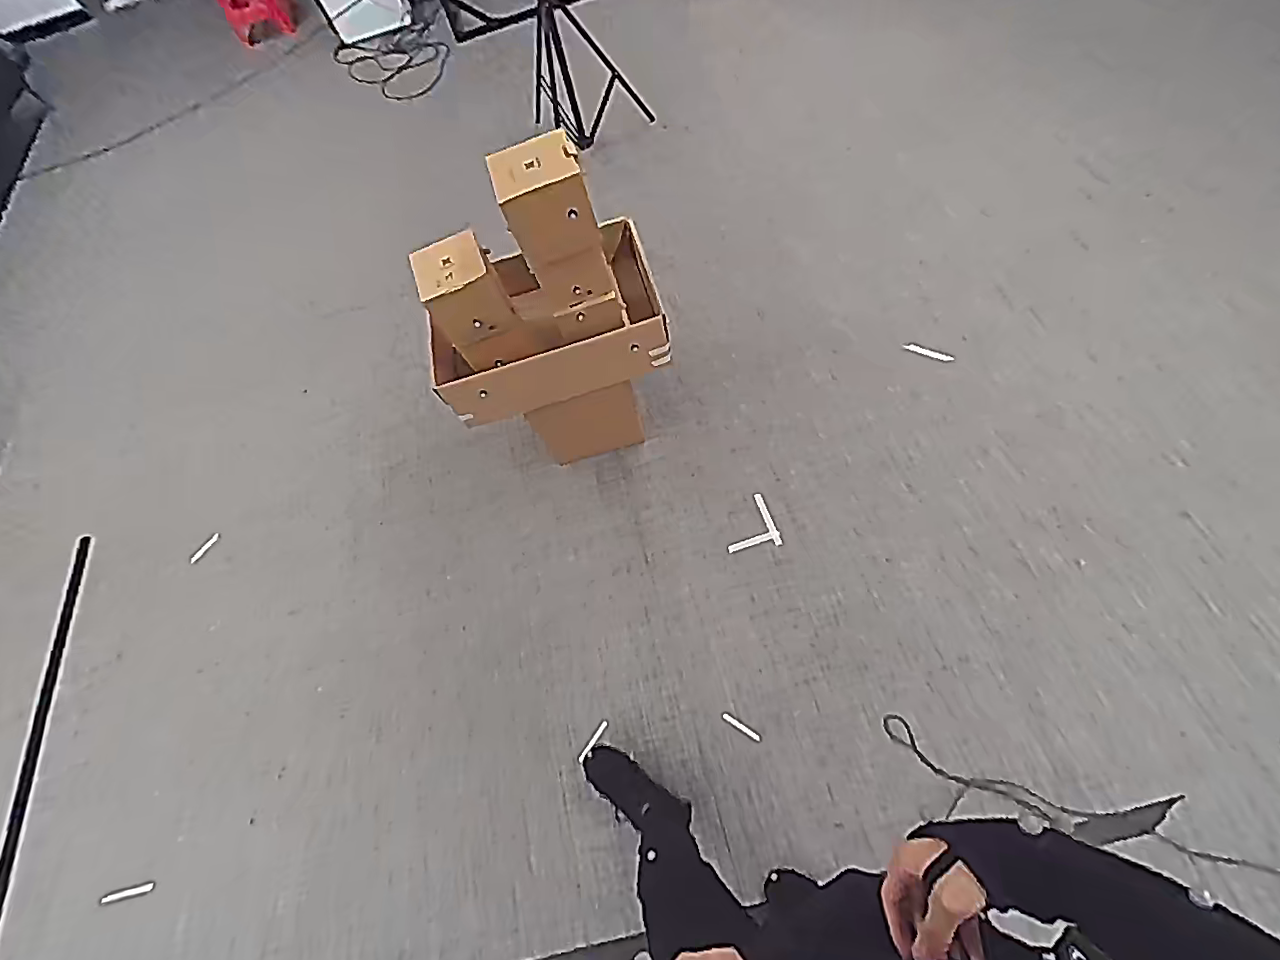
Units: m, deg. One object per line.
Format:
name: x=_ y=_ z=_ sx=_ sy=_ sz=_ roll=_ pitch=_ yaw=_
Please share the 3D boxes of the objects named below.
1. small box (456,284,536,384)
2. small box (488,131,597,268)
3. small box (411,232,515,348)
small box: x=-0.404 y=-0.397 z=1.475 sx=0.168 sy=0.176 sz=0.179 roll=-25 pitch=63 yaw=0
small box: x=-0.200 y=-0.591 z=1.154 sx=0.179 sy=0.176 sz=0.168 roll=-20 pitch=62 yaw=2
small box: x=-0.429 y=-0.459 z=1.324 sx=0.168 sy=0.176 sz=0.179 roll=-24 pitch=63 yaw=0
